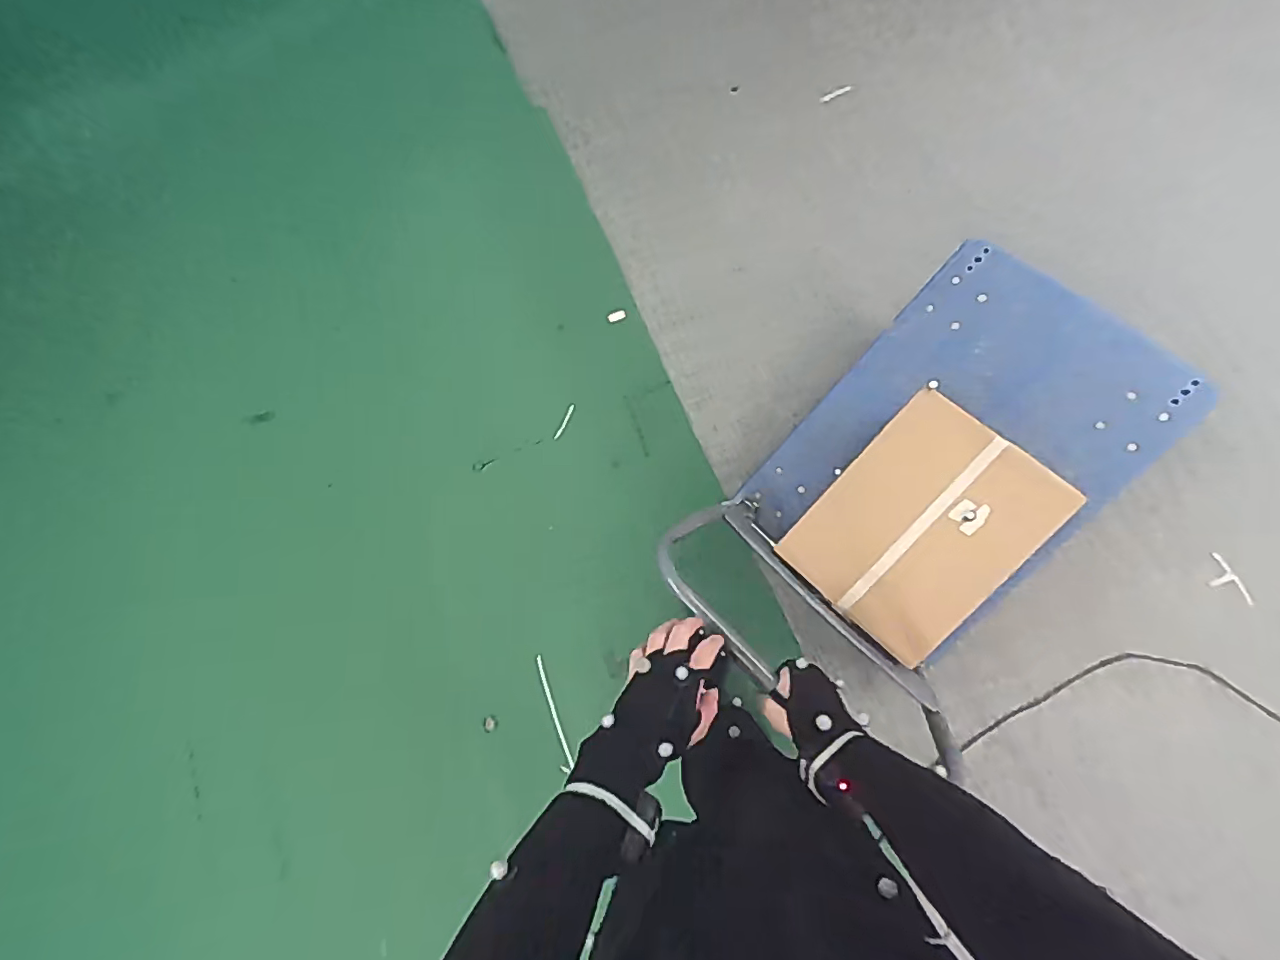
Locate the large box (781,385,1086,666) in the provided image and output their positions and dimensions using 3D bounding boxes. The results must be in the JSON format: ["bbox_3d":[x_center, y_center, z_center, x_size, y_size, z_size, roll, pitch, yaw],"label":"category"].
[{"bbox_3d":[0.539,0.091,1.085,0.320,0.320,0.408,43,99,16],"label":"large box"}]
